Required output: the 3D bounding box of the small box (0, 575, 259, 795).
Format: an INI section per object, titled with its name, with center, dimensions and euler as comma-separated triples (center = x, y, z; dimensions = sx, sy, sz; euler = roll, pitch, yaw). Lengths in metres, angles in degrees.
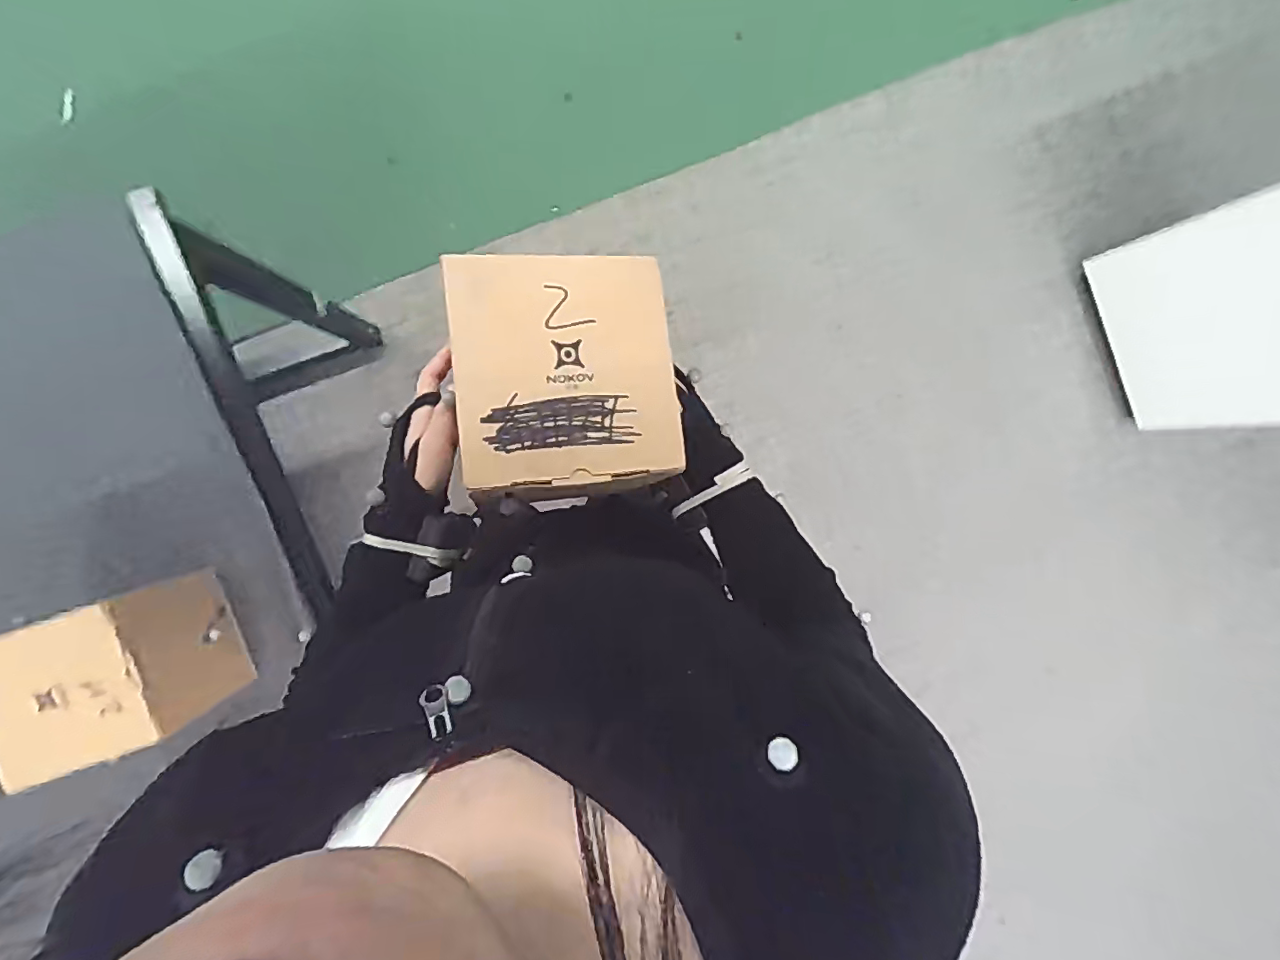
[small box]
center = -0.626, 0.234, 0.661
dimensions = 0.179, 0.176, 0.168
euler = -20, 95, -2
